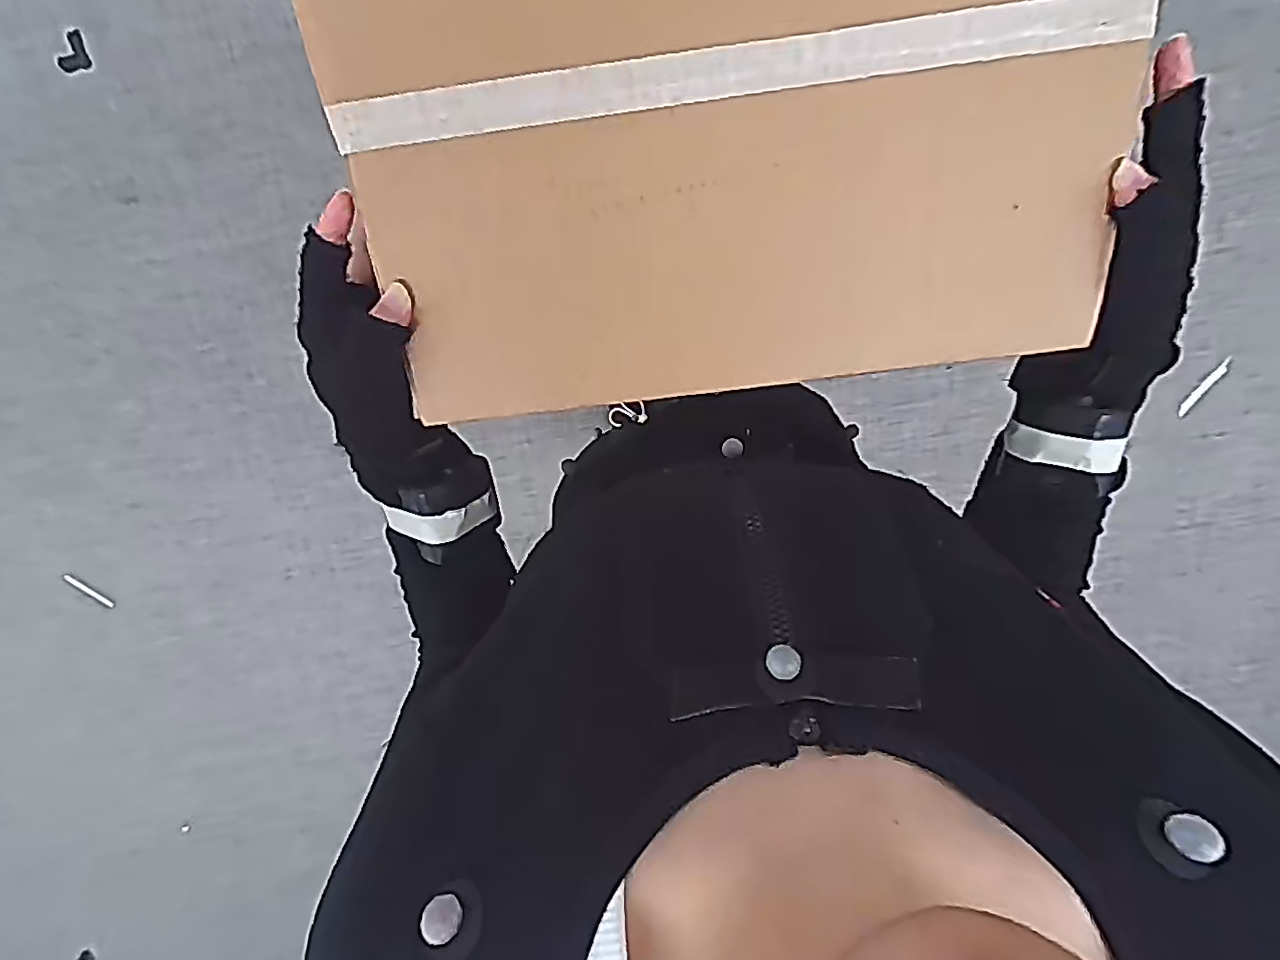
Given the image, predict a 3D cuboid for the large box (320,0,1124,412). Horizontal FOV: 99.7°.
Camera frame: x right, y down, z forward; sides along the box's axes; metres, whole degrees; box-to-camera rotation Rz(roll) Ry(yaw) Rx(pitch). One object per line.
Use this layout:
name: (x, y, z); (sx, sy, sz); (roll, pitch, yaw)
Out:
large box: (0.042, -0.262, 0.418); (0.408, 0.320, 0.320); (-7, 113, 2)
